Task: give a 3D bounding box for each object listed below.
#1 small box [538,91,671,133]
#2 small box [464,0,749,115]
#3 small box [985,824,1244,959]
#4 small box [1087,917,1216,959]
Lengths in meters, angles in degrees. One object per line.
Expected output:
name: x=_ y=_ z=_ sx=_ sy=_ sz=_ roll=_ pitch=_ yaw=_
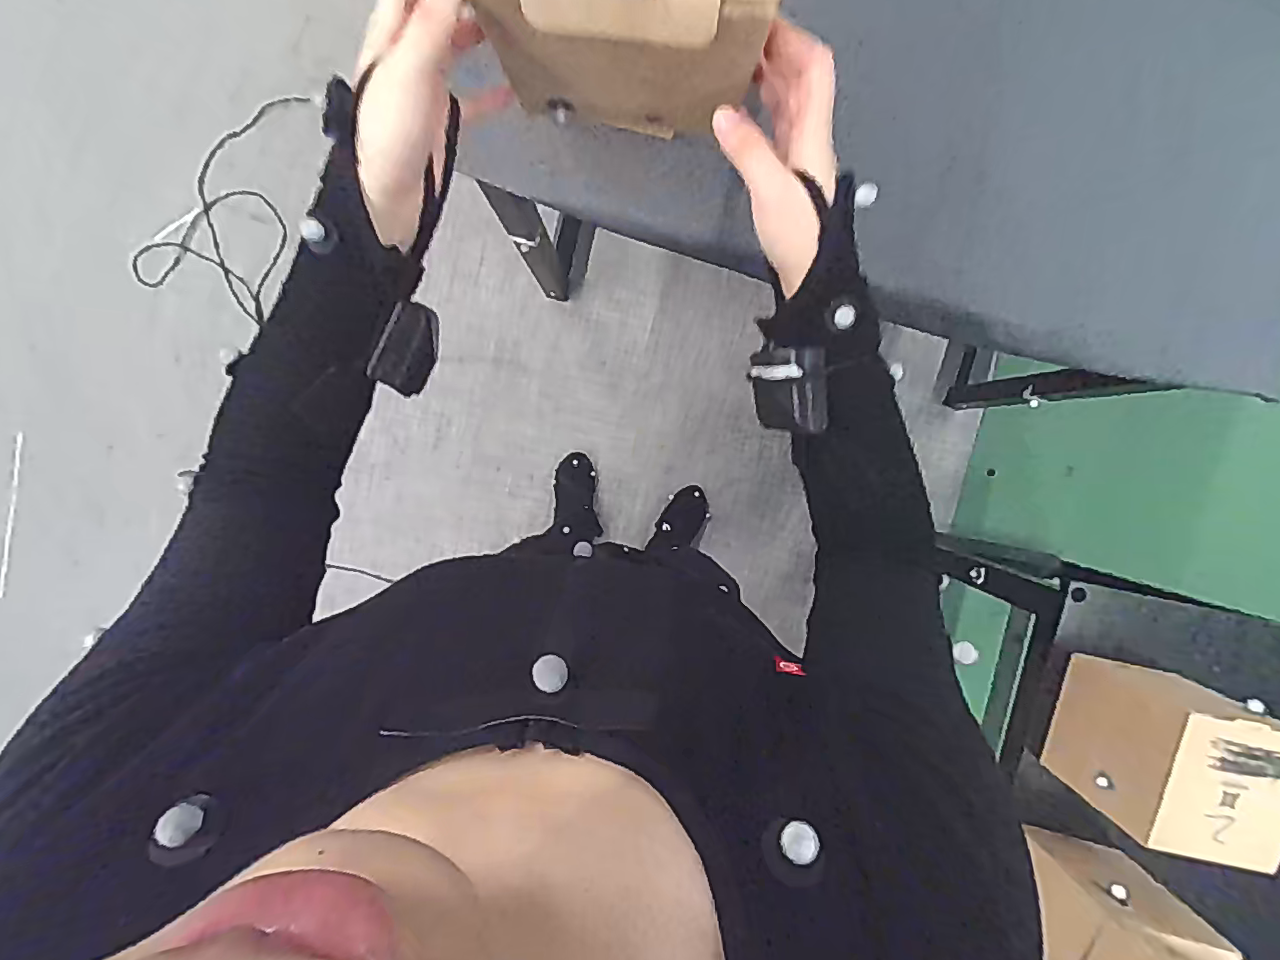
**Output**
small box: x=-0.029 y=-0.545 z=0.630 sx=0.179 sy=0.176 sz=0.168 roll=12 pitch=92 yaw=-1
small box: x=-0.012 y=-0.352 z=0.324 sx=0.168 sy=0.176 sz=0.179 roll=5 pitch=103 yaw=-1
small box: x=0.615 y=0.607 z=0.728 sx=0.179 sy=0.176 sz=0.168 roll=16 pitch=95 yaw=-2
small box: x=0.593 y=0.628 z=0.567 sx=0.168 sy=0.176 sz=0.179 roll=24 pitch=94 yaw=-2
